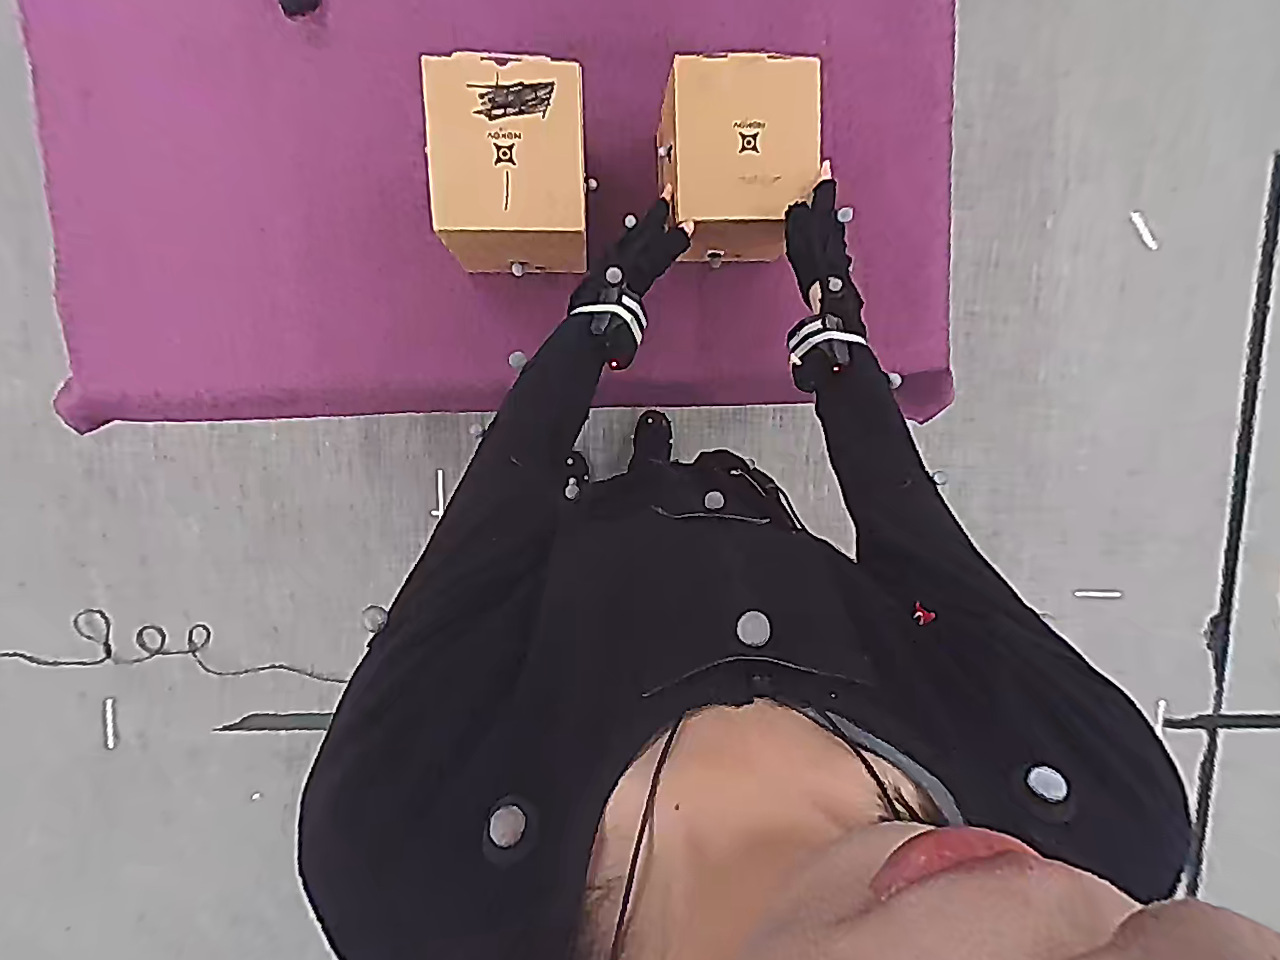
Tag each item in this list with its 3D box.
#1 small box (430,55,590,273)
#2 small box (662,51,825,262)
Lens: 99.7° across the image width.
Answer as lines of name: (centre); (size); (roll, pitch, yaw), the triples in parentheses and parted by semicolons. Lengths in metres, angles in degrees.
small box: (-0.146, -0.367, 0.657); (0.168, 0.176, 0.179); (-2, 96, -5)
small box: (0.119, -0.390, 0.679); (0.168, 0.176, 0.179); (-3, 97, -3)
